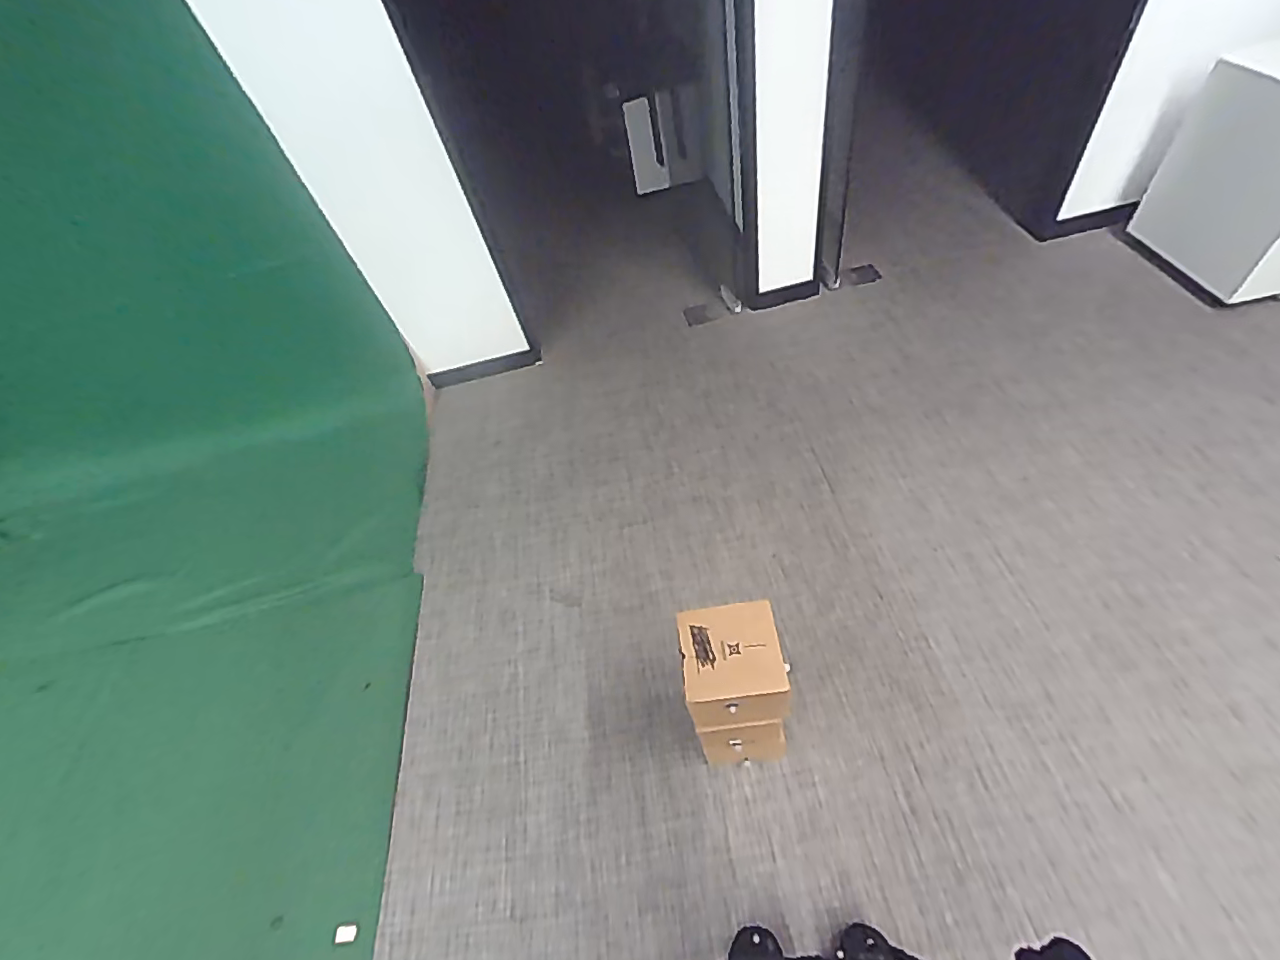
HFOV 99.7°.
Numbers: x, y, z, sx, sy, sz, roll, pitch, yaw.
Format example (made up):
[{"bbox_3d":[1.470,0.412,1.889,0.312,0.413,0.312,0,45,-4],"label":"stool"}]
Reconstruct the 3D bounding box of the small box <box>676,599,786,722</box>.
[{"bbox_3d":[0.171,0.343,1.014,0.179,0.176,0.168,-9,51,7],"label":"small box"}]

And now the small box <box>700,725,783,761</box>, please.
[{"bbox_3d":[0.227,0.547,1.264,0.179,0.176,0.168,-9,51,6],"label":"small box"}]

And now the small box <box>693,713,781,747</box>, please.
[{"bbox_3d":[0.196,0.445,1.142,0.168,0.176,0.179,-11,52,7],"label":"small box"}]
